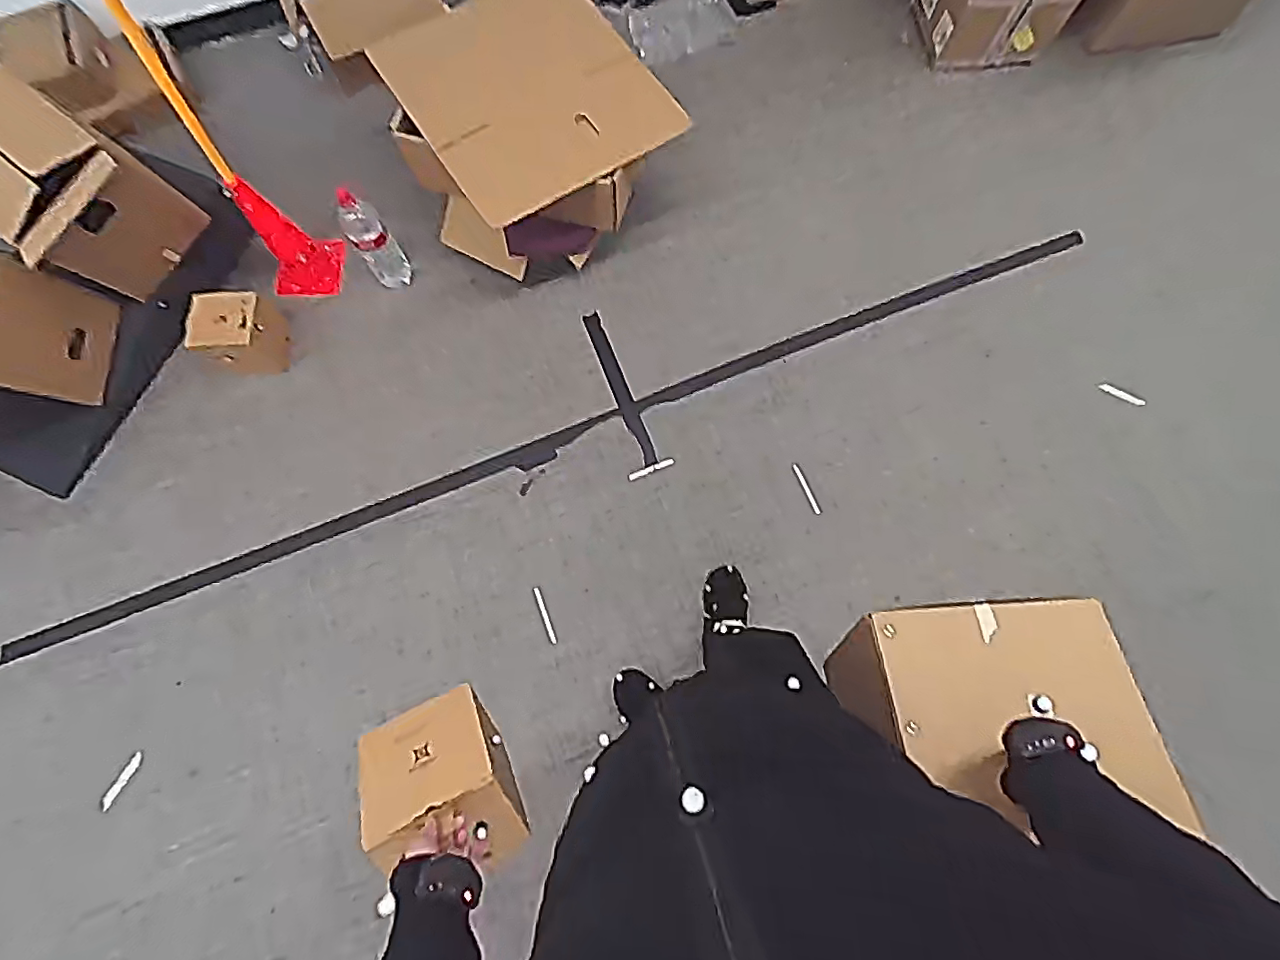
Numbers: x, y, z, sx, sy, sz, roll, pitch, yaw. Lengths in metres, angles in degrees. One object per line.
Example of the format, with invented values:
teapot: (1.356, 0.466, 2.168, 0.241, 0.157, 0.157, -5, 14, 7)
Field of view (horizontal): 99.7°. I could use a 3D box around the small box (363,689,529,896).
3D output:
small box: (-0.277, 0.450, 0.779, 0.168, 0.176, 0.179, -24, 32, -17)
